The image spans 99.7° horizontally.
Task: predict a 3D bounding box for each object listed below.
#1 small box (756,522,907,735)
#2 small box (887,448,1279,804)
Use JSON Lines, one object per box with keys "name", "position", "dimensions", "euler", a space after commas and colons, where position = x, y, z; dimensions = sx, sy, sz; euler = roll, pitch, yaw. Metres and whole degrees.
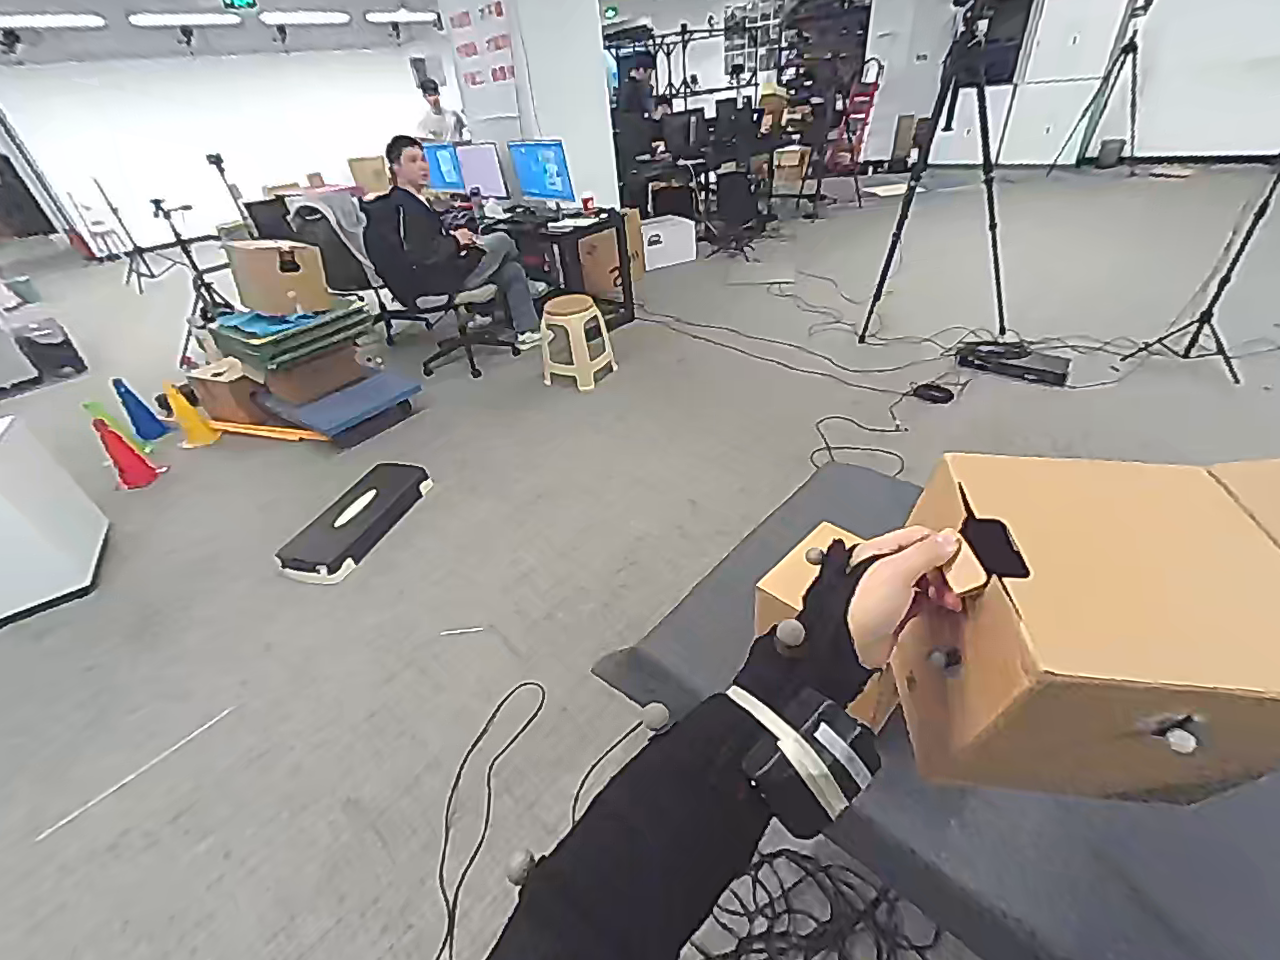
{"name": "small box", "position": [0.268, 0.191, 0.713], "dimensions": [0.168, 0.176, 0.179], "euler": [-33, 44, -32]}
{"name": "small box", "position": [0.285, 0.098, 0.362], "dimensions": [0.179, 0.176, 0.168], "euler": [4, 45, 4]}
